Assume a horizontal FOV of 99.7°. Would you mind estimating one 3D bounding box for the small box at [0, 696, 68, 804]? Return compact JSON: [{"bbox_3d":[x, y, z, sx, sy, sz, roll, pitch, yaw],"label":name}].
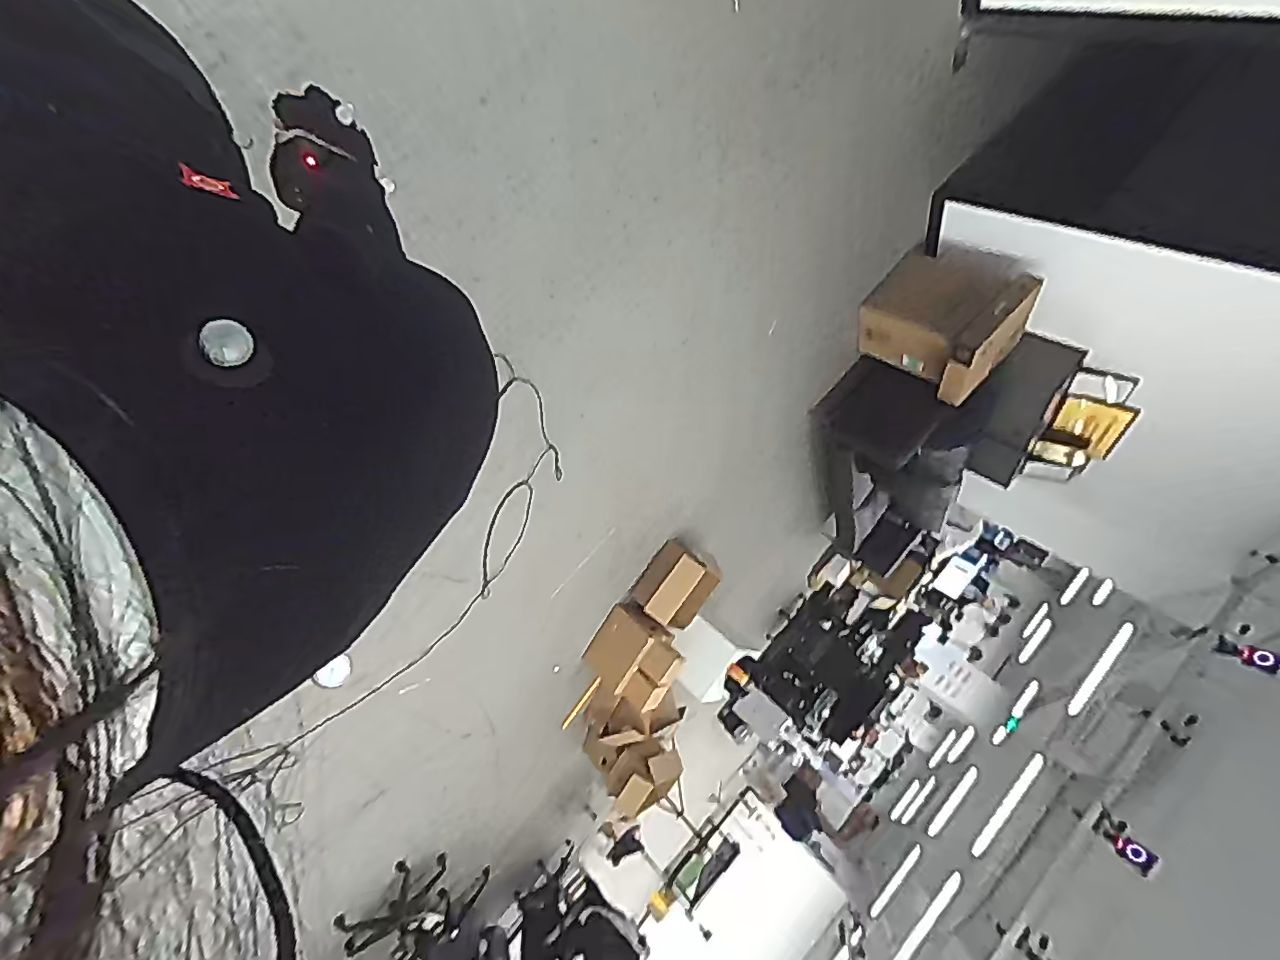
[{"bbox_3d":[-1.505,0.625,1.260,0.179,0.176,0.168,-50,147,-3],"label":"small box"}]
